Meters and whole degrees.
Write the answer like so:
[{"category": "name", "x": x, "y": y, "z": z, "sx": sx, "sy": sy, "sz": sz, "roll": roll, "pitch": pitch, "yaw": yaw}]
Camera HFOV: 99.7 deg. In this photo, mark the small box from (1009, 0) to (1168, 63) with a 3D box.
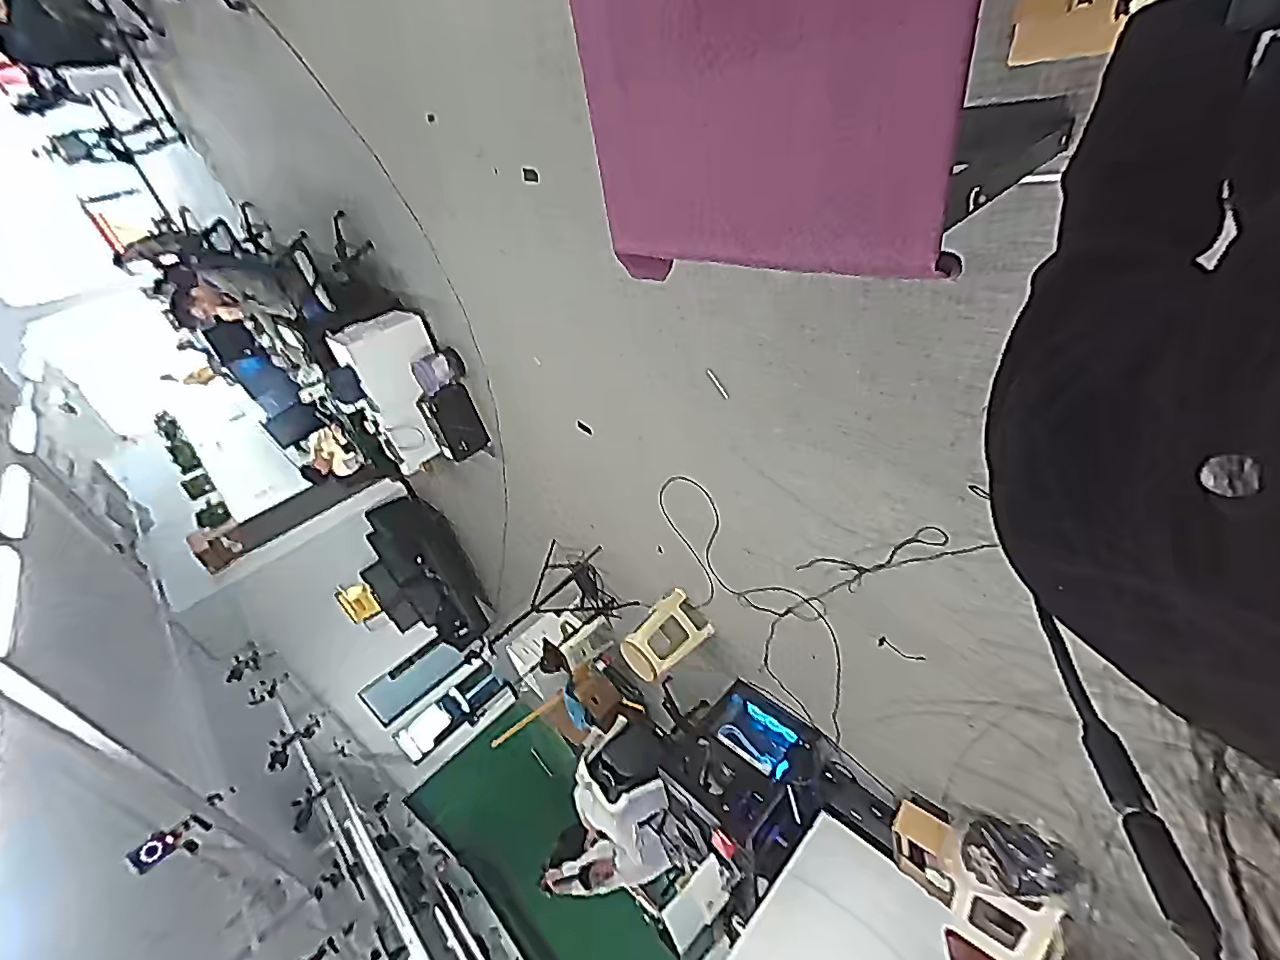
[{"category": "small box", "x": 0.763, "y": -0.817, "z": 0.903, "sx": 0.179, "sy": 0.176, "sz": 0.168, "roll": 27, "pitch": 140, "yaw": 40}]
